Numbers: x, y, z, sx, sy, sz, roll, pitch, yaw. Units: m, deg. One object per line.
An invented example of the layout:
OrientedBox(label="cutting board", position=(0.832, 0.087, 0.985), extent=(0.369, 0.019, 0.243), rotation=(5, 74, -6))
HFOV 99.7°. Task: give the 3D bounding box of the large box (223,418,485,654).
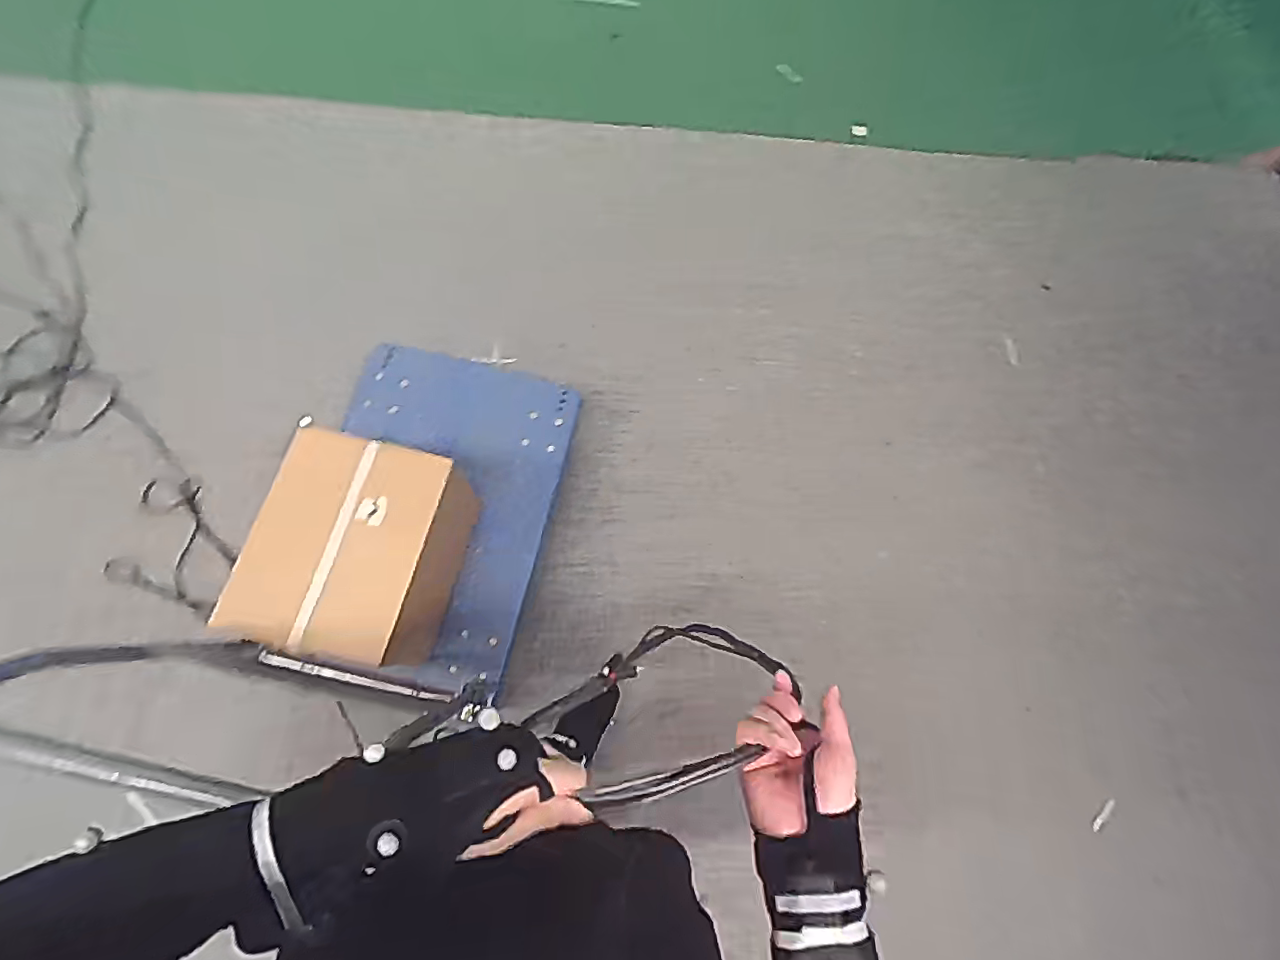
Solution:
OrientedBox(label="large box", position=(-0.566, 0.139, 1.163), extent=(0.320, 0.320, 0.408), rotation=(15, 71, -1))
